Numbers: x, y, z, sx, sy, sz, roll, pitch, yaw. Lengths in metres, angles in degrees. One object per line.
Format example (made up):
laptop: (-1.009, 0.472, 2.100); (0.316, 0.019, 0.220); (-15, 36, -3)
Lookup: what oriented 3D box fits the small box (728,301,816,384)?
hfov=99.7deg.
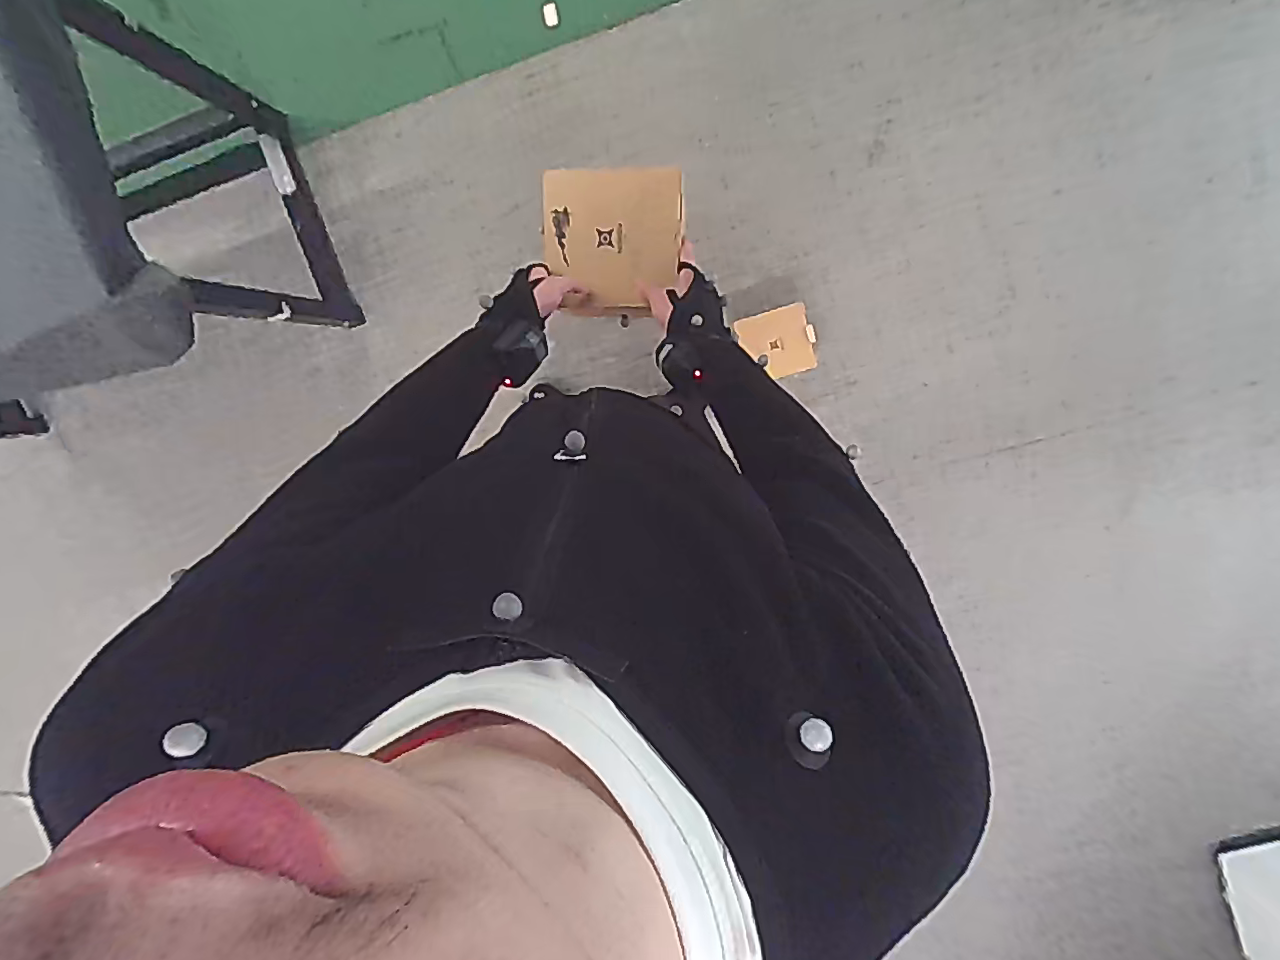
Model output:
small box: (0.334, -0.350, 1.394); (0.179, 0.176, 0.168); (-13, 99, 7)

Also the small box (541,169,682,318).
small box: (-0.031, -0.320, 0.758); (0.179, 0.176, 0.168); (1, 103, 5)
